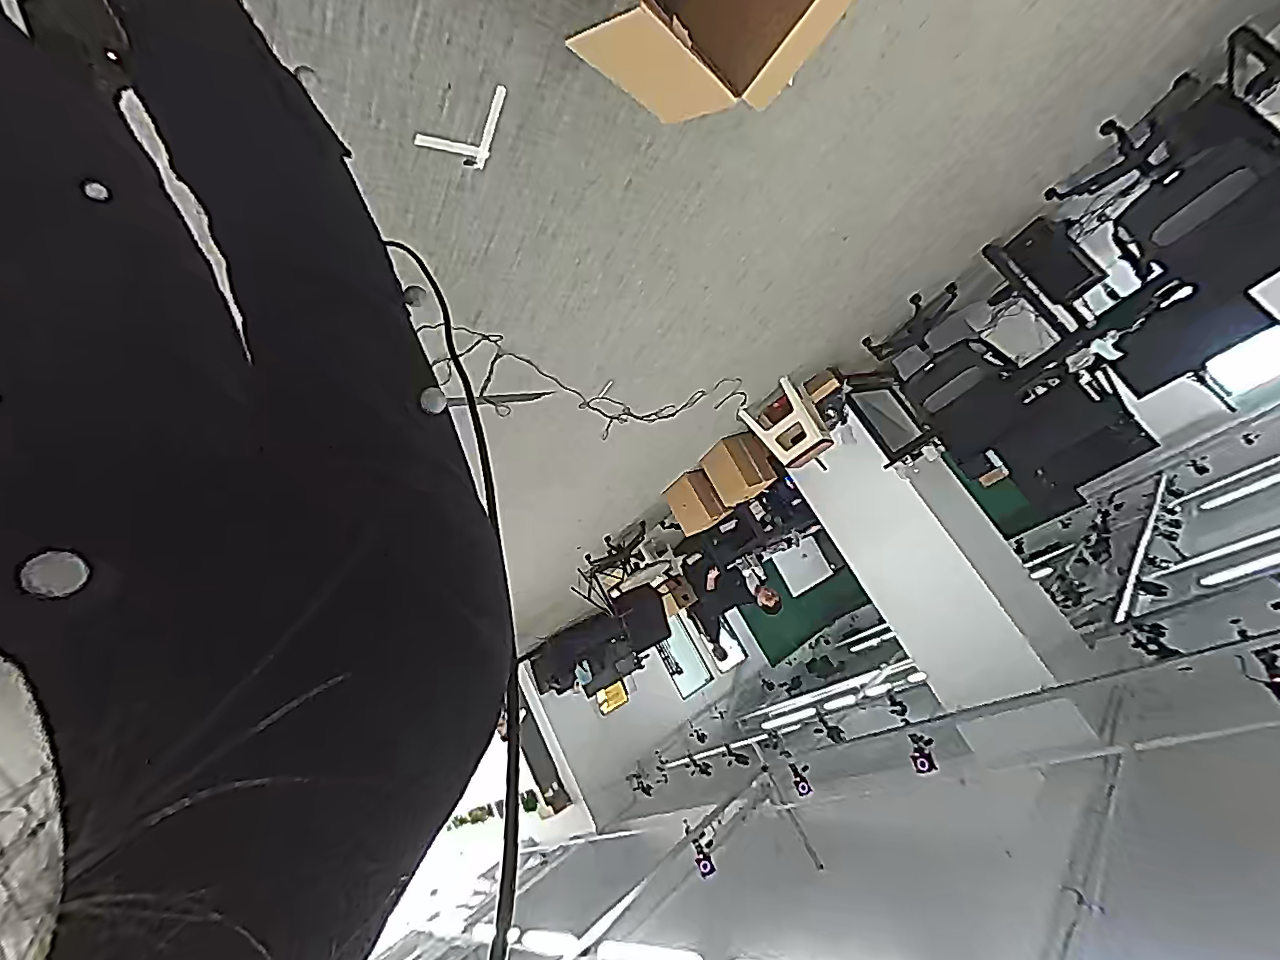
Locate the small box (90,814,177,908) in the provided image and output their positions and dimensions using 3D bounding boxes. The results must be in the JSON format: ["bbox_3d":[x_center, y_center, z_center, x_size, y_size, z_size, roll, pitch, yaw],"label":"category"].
[{"bbox_3d":[-1.569,1.178,1.676,0.179,0.176,0.168,-14,156,-43],"label":"small box"}]
